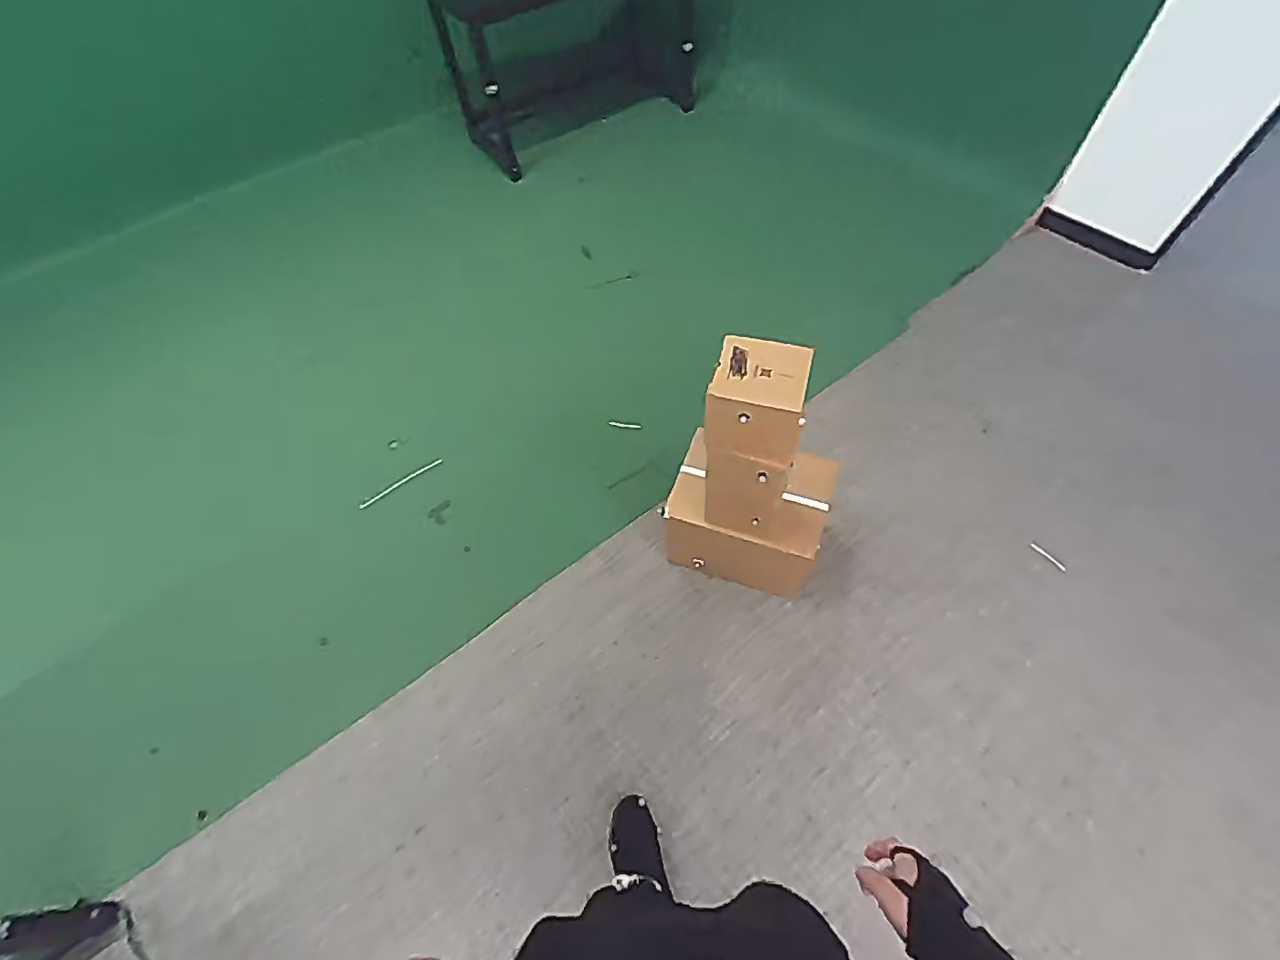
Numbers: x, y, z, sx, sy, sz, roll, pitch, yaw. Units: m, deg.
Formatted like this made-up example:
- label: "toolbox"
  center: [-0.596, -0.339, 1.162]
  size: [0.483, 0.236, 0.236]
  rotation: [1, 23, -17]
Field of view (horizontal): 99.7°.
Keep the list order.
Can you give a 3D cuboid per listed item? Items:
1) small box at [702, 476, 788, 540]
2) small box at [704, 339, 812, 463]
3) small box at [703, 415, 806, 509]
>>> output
- label: "small box"
  center: [0.263, 0.031, 1.355]
  size: [0.179, 0.176, 0.168]
  rotation: [16, 61, 14]
- label: "small box"
  center: [0.230, -0.154, 1.085]
  size: [0.179, 0.176, 0.168]
  rotation: [14, 60, 11]
- label: "small box"
  center: [0.252, -0.055, 1.216]
  size: [0.179, 0.176, 0.168]
  rotation: [18, 60, 15]
